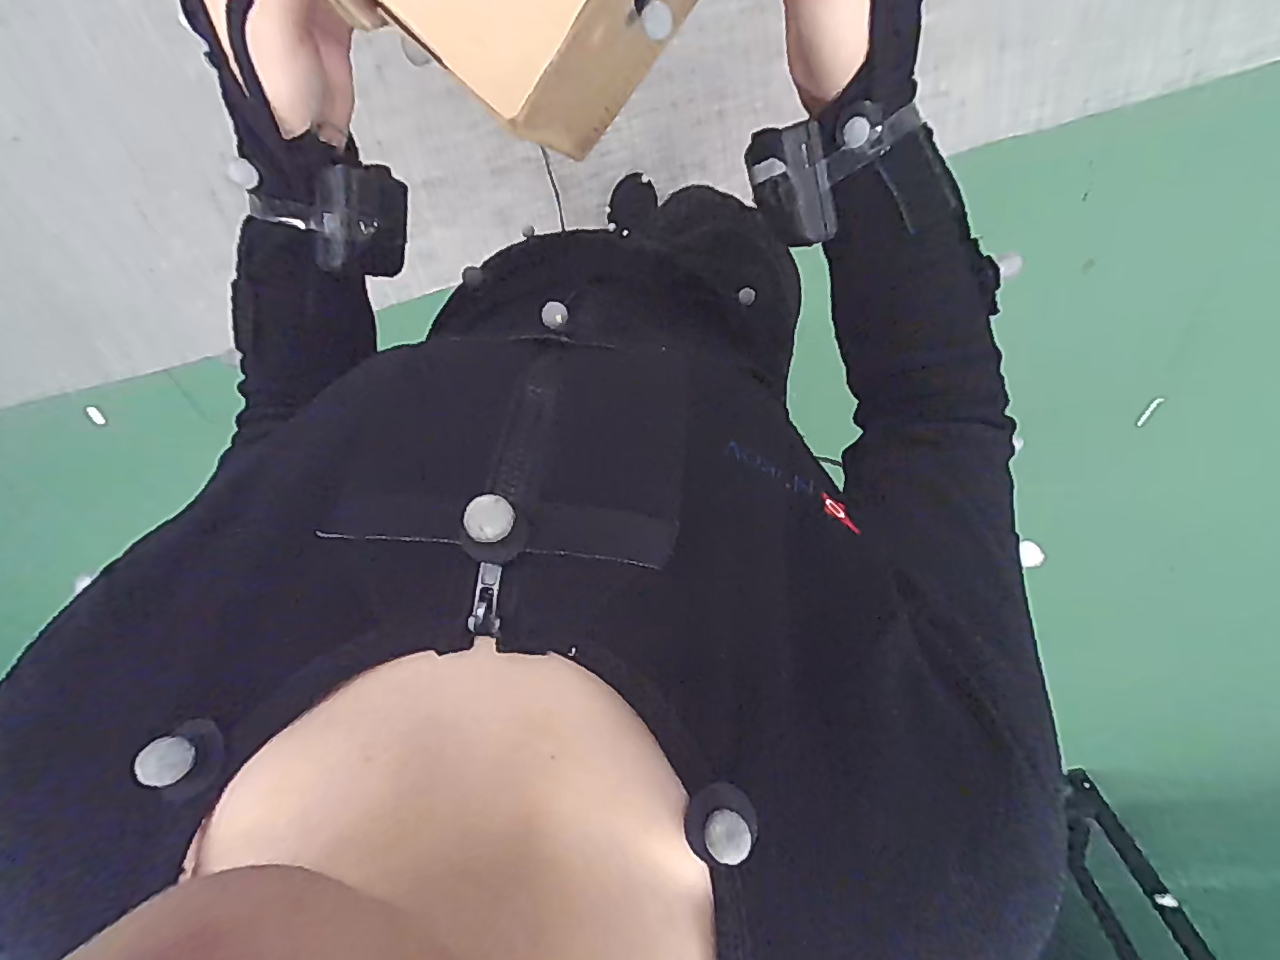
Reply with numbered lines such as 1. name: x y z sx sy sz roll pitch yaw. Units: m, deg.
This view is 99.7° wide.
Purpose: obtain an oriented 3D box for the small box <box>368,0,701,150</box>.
1. small box: -0.047 -0.279 0.236 0.168 0.176 0.179 39 114 -14
